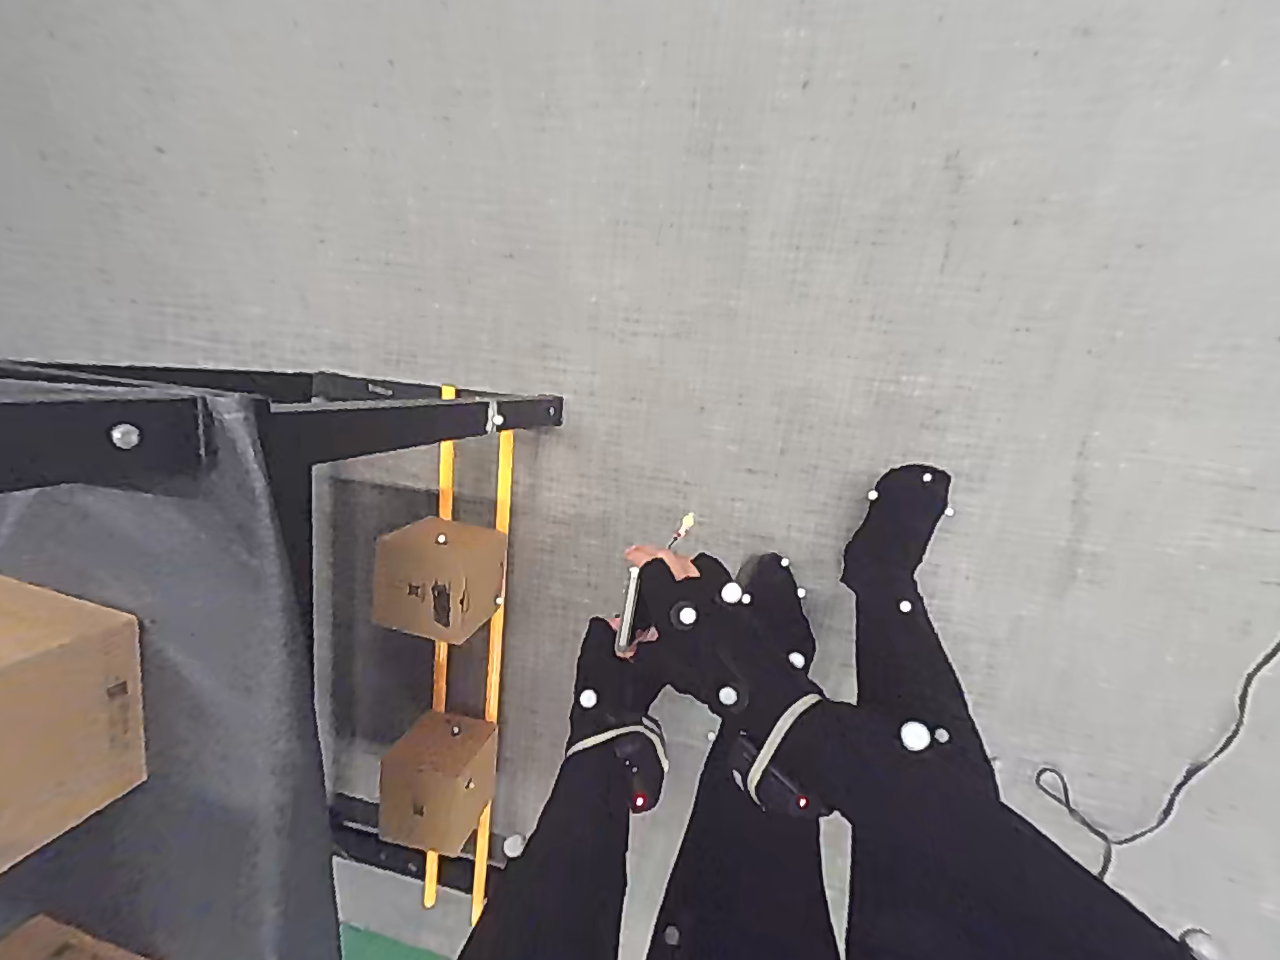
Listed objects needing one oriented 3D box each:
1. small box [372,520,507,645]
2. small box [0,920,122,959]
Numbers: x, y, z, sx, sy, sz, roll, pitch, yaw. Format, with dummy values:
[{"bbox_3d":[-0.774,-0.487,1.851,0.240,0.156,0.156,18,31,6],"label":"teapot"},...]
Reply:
[{"bbox_3d":[-0.367,0.182,1.014,0.179,0.176,0.168,11,101,10],"label":"small box"},{"bbox_3d":[-0.570,0.552,0.472,0.168,0.176,0.179,11,102,10],"label":"small box"}]
